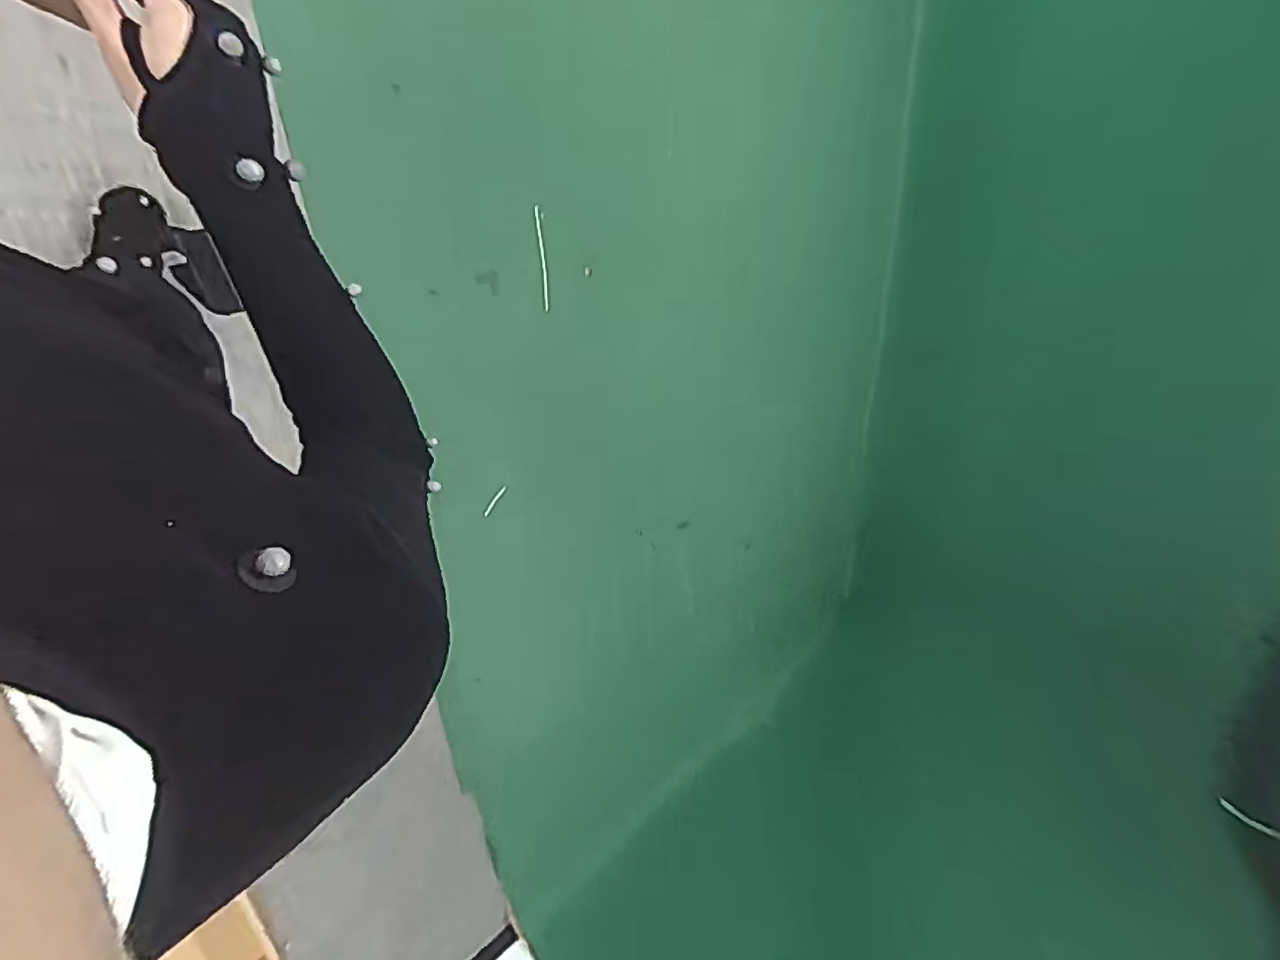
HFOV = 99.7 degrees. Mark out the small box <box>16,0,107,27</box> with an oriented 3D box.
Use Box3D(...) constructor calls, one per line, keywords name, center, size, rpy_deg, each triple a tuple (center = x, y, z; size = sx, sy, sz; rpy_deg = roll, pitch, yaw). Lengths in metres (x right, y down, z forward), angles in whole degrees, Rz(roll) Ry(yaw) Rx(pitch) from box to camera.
Box3D(name="small box", center=(-0.416, -0.421, 0.312), size=(0.168, 0.176, 0.179), rpy_deg=(4, 106, -47))
